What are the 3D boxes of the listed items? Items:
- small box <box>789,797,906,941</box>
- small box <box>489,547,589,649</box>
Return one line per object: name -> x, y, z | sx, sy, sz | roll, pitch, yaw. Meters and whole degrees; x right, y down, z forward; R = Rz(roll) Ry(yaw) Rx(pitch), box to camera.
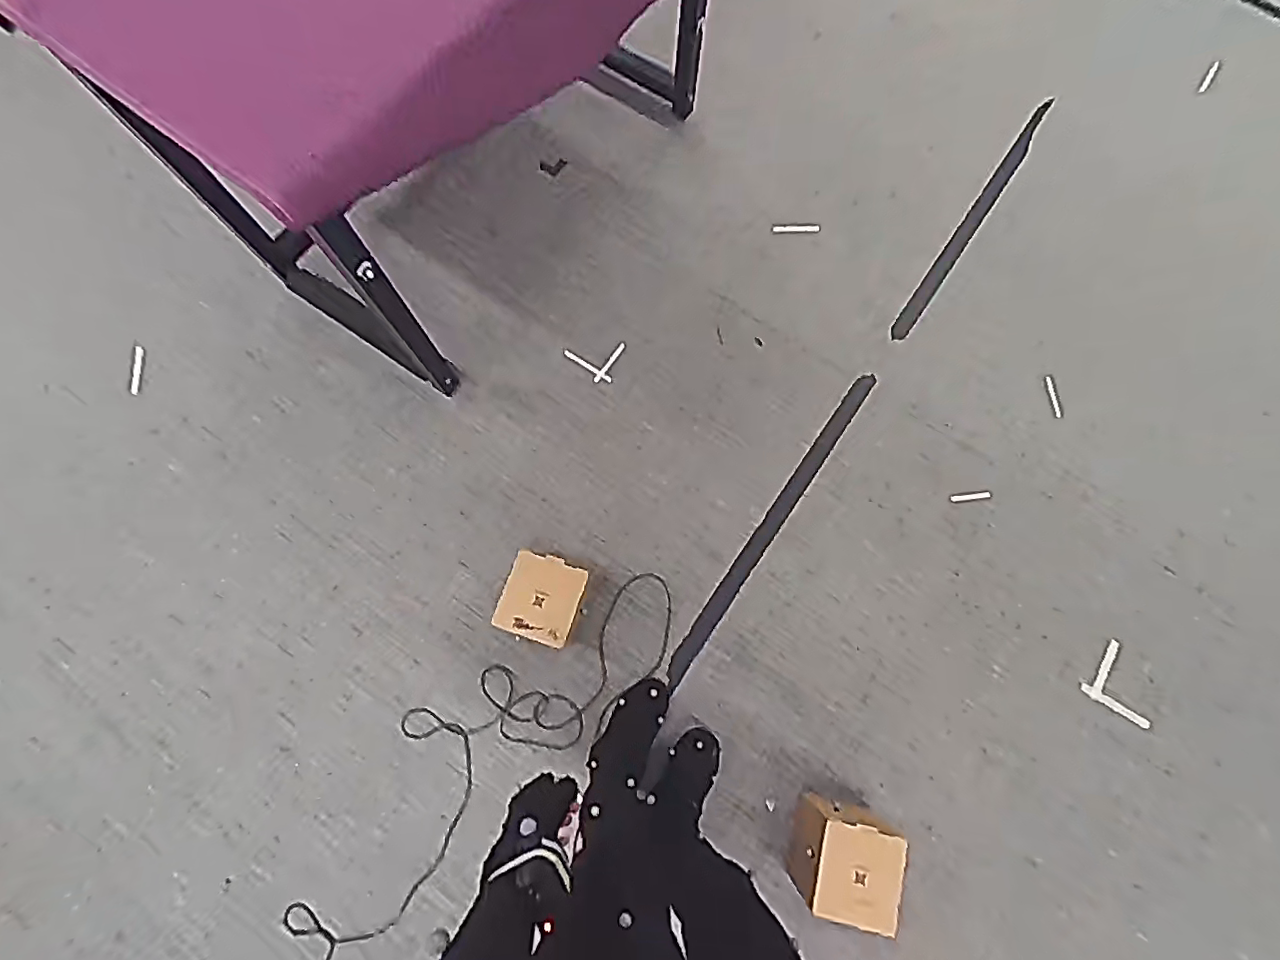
small box -> 0.423, 0.792, 1.124 | 0.168, 0.176, 0.179 | 14, 77, 3
small box -> -0.220, 0.271, 1.235 | 0.168, 0.176, 0.179 | 19, 75, 3
